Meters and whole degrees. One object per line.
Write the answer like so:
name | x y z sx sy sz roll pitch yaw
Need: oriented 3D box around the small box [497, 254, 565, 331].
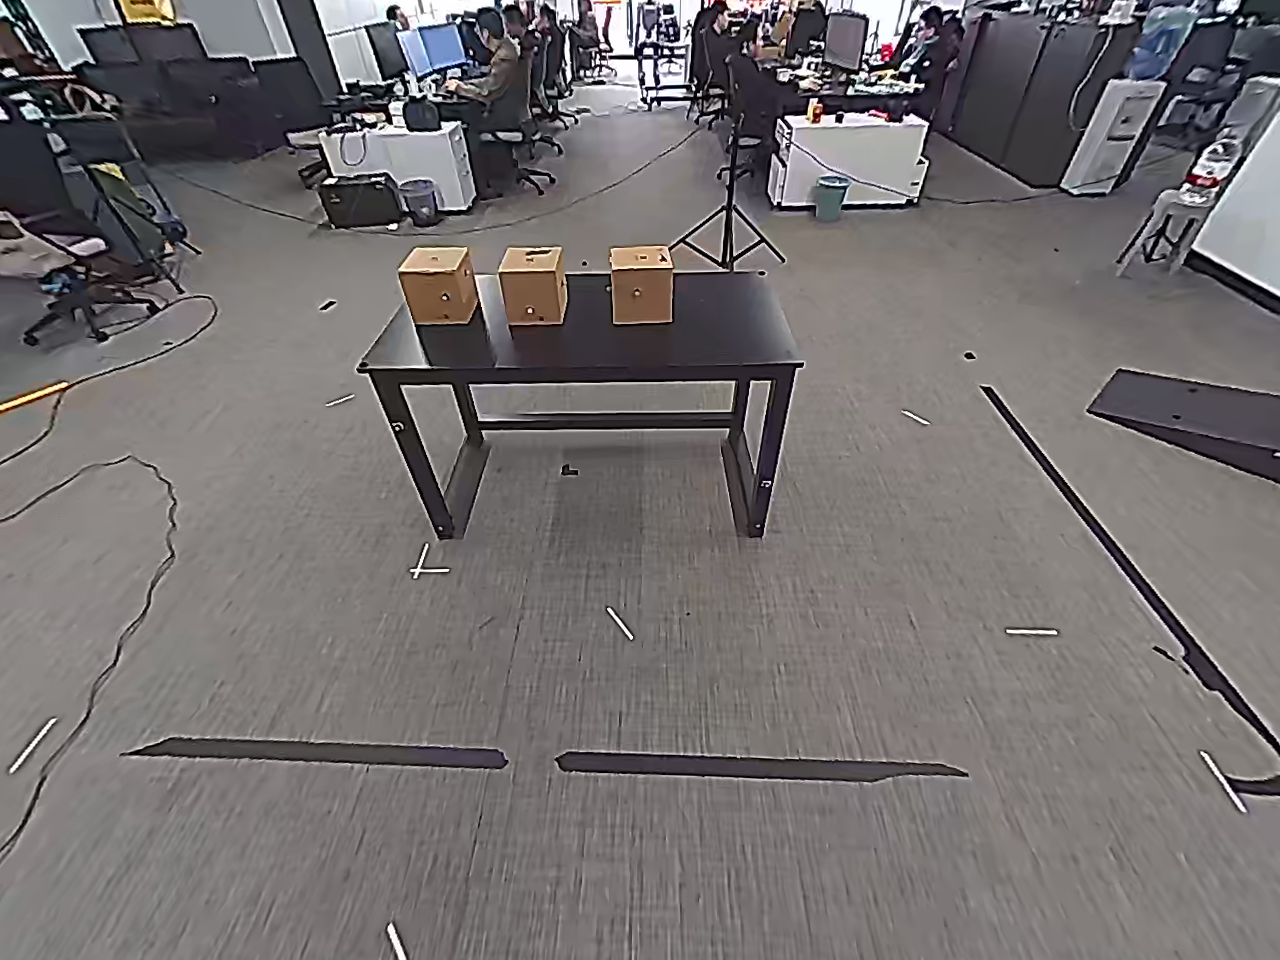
small box | -0.324 -0.570 1.639 0.168 0.176 0.179 -1 44 1

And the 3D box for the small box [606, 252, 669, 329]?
small box | -0.006 -0.568 1.630 0.179 0.176 0.168 -4 43 -2

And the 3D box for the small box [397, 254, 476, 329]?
small box | -0.611 -0.573 1.651 0.168 0.176 0.179 -1 42 -1
